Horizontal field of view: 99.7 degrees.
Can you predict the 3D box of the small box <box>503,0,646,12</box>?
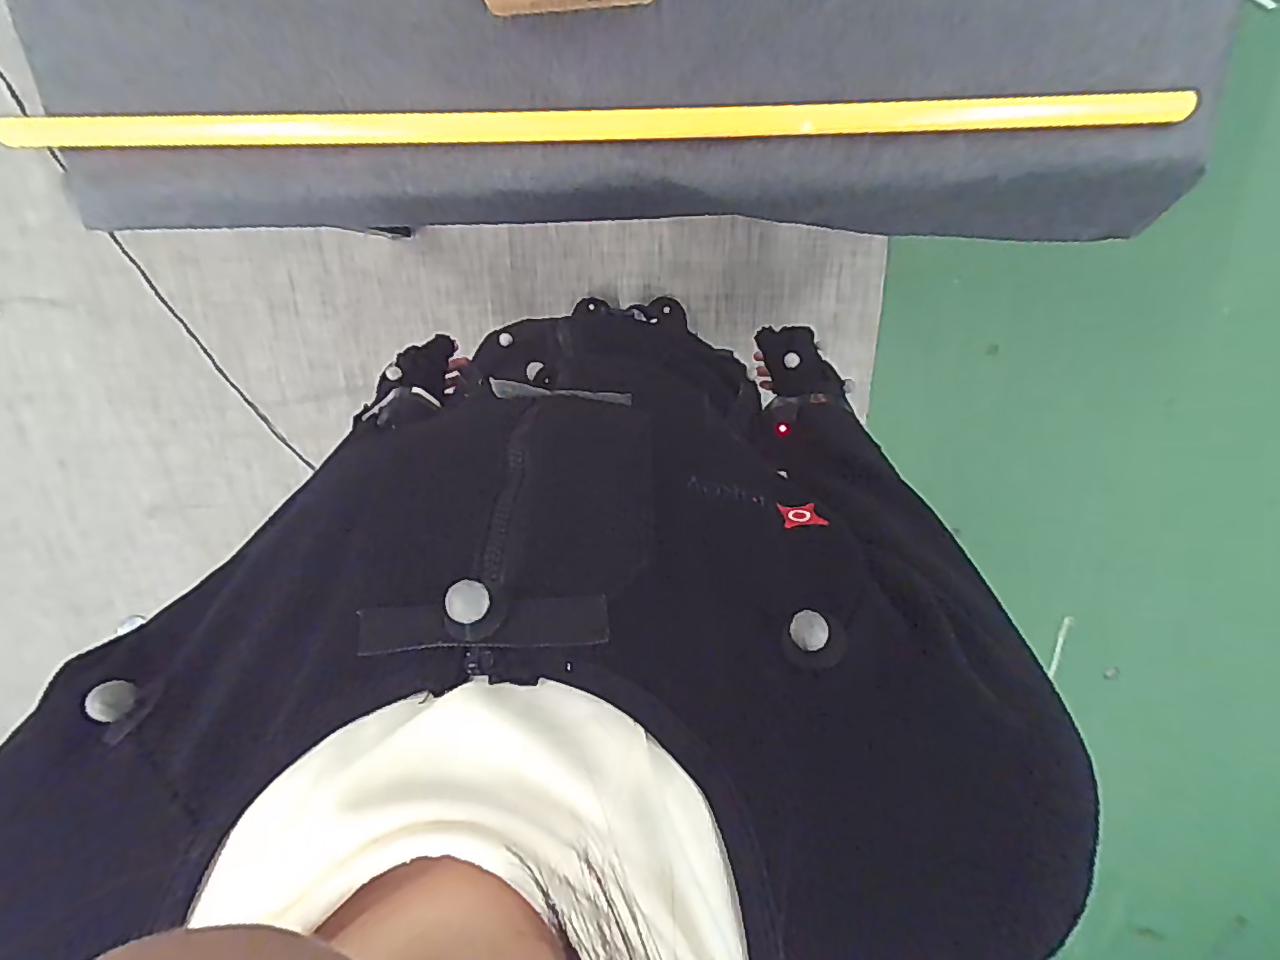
[{"bbox_3d":[-0.068,-0.523,0.429,0.168,0.176,0.179,-3,109,3],"label":"small box"}]
